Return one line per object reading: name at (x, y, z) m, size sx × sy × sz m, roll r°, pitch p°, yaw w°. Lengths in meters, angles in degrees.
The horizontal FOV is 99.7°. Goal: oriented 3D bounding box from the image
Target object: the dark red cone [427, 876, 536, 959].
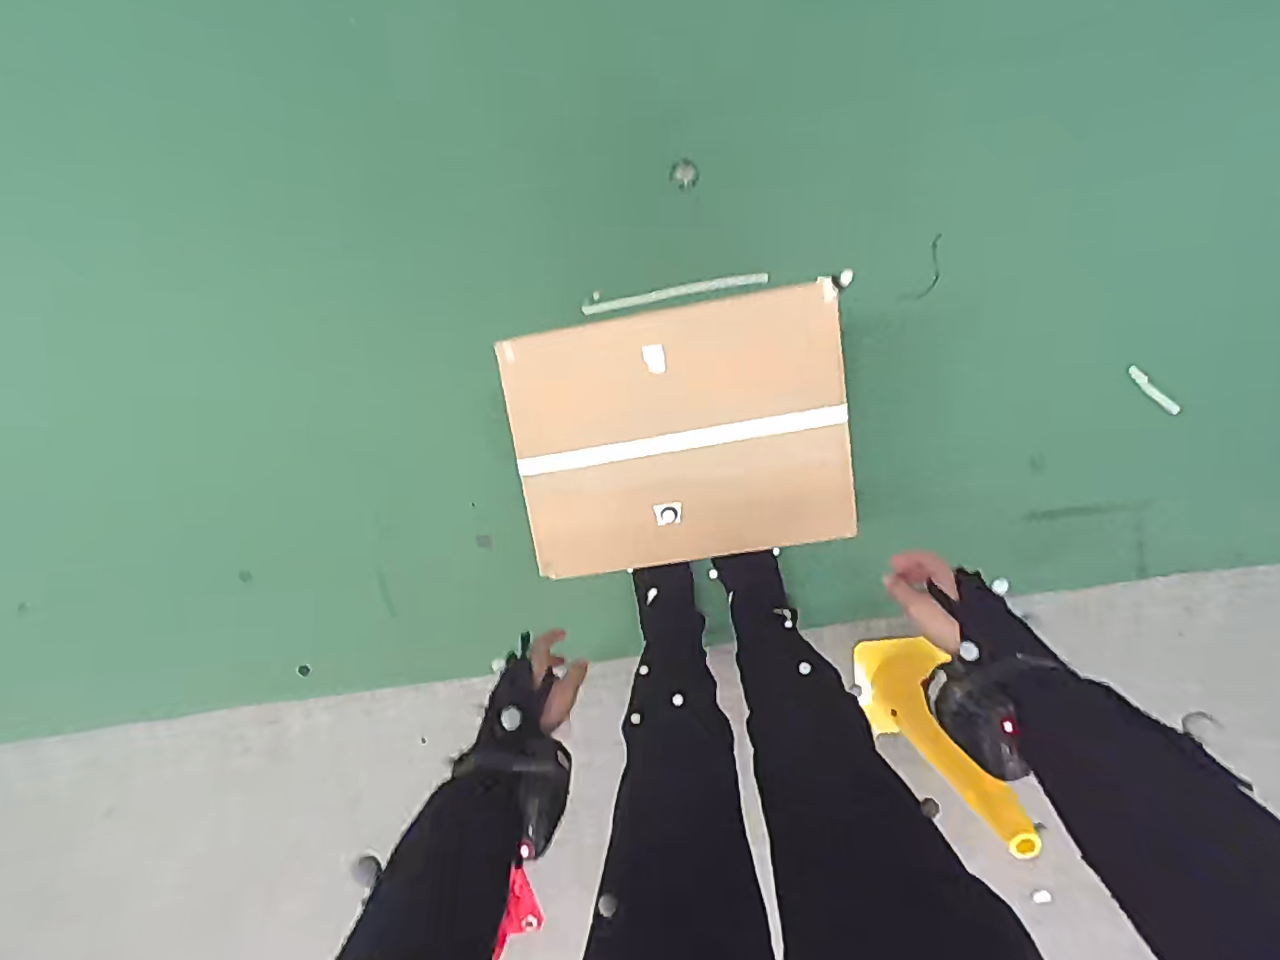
dark red cone at (-0.351, 0.970, 0.997) m, size 0.202 × 0.394 × 0.201 m, roll -17°, pitch 97°, yaw 7°
